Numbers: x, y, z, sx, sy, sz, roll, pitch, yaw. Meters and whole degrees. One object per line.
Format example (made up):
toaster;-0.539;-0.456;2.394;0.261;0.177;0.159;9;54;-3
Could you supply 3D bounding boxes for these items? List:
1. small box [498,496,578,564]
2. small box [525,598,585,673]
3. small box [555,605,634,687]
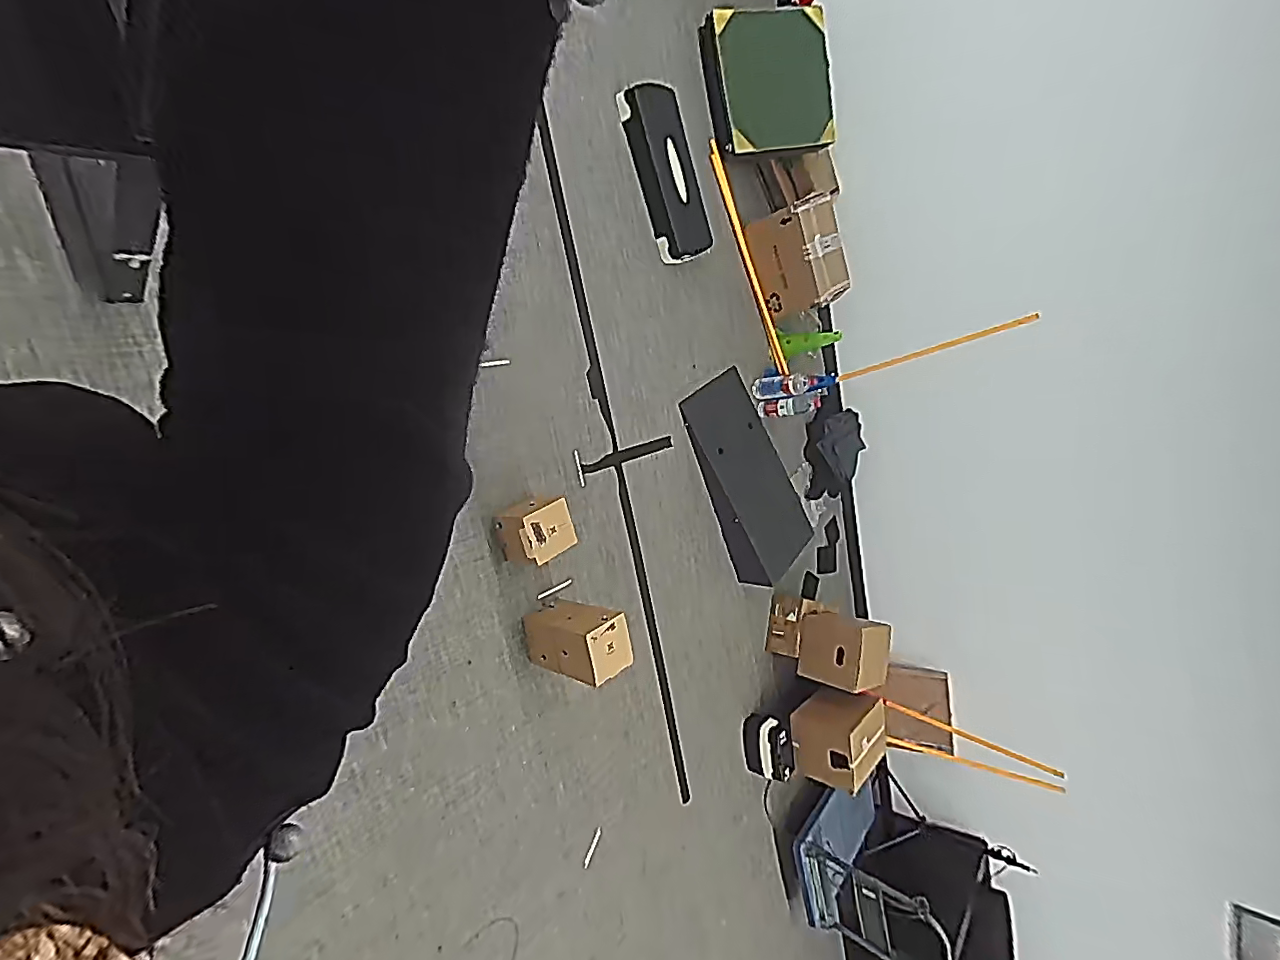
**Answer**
small box;-0.335;0.157;1.746;0.179;0.176;0.168;-29;111;-43
small box;-0.264;0.518;1.821;0.168;0.176;0.179;-18;102;-45
small box;-0.145;0.516;1.709;0.168;0.176;0.179;-20;105;-45
